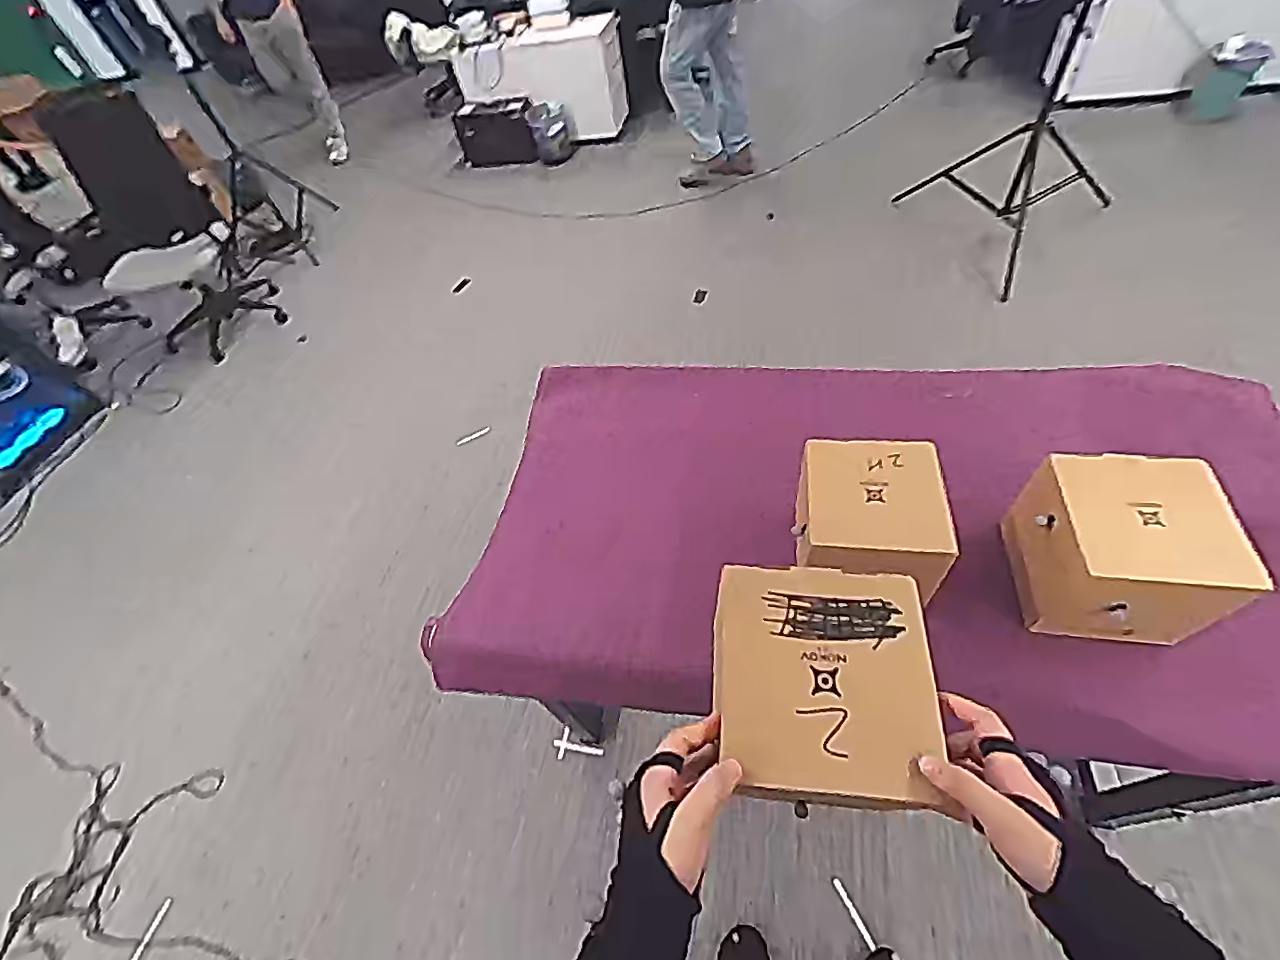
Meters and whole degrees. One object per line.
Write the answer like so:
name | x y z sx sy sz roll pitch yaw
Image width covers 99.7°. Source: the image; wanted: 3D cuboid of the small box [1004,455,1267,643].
small box | 0.594 0.089 0.683 0.168 0.176 0.179 3 53 13

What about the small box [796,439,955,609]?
small box | 0.312 0.064 0.753 0.168 0.176 0.179 3 52 12
